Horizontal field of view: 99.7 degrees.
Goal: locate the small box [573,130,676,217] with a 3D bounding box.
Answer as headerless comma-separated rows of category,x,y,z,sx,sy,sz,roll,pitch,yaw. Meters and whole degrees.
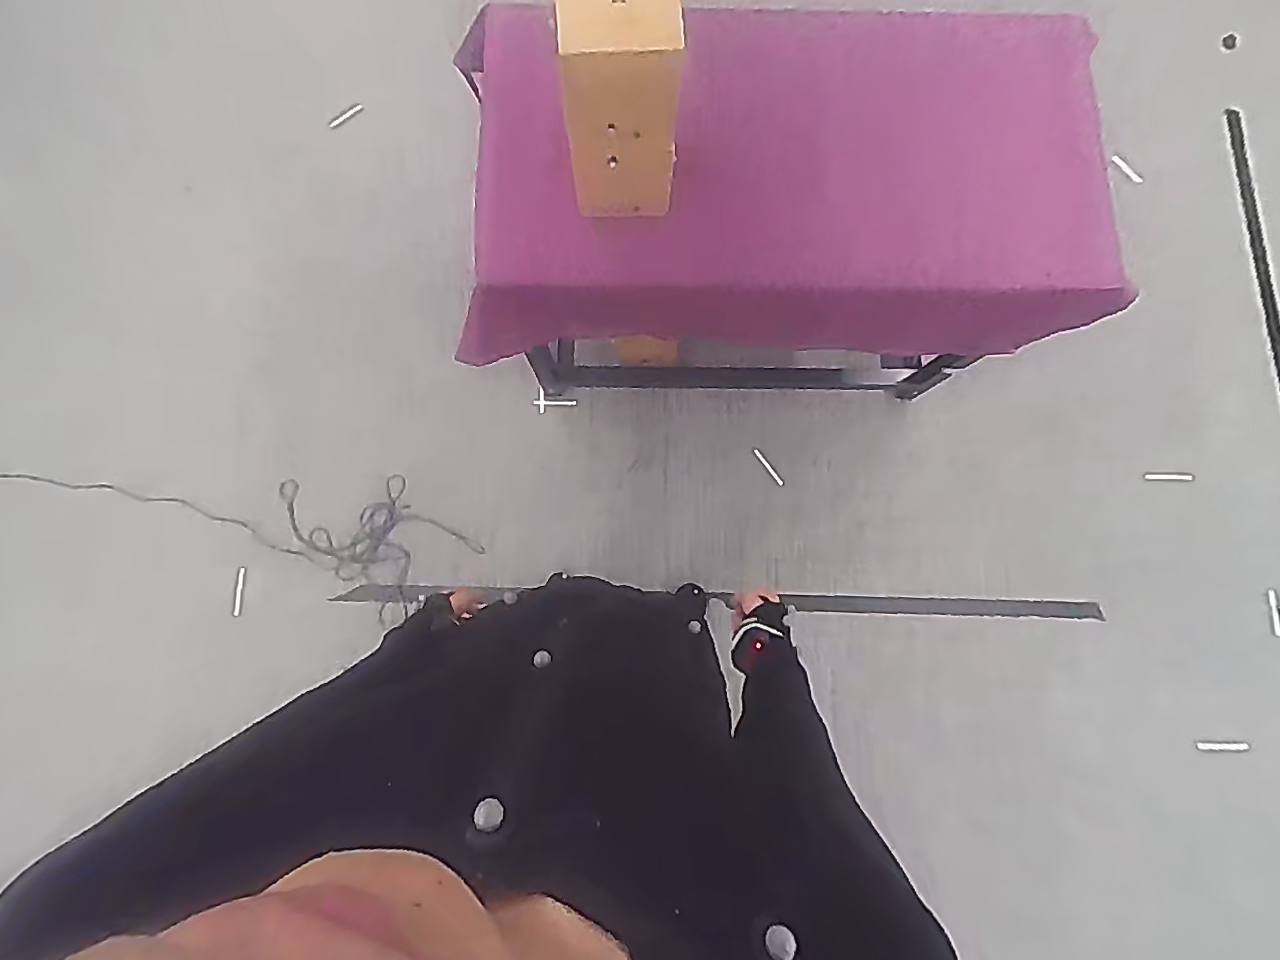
small box,-0.029,-0.595,0.948,0.168,0.176,0.179,-1,81,-1

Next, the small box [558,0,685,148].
small box,-0.029,-0.623,0.787,0.168,0.176,0.179,-3,81,-2
